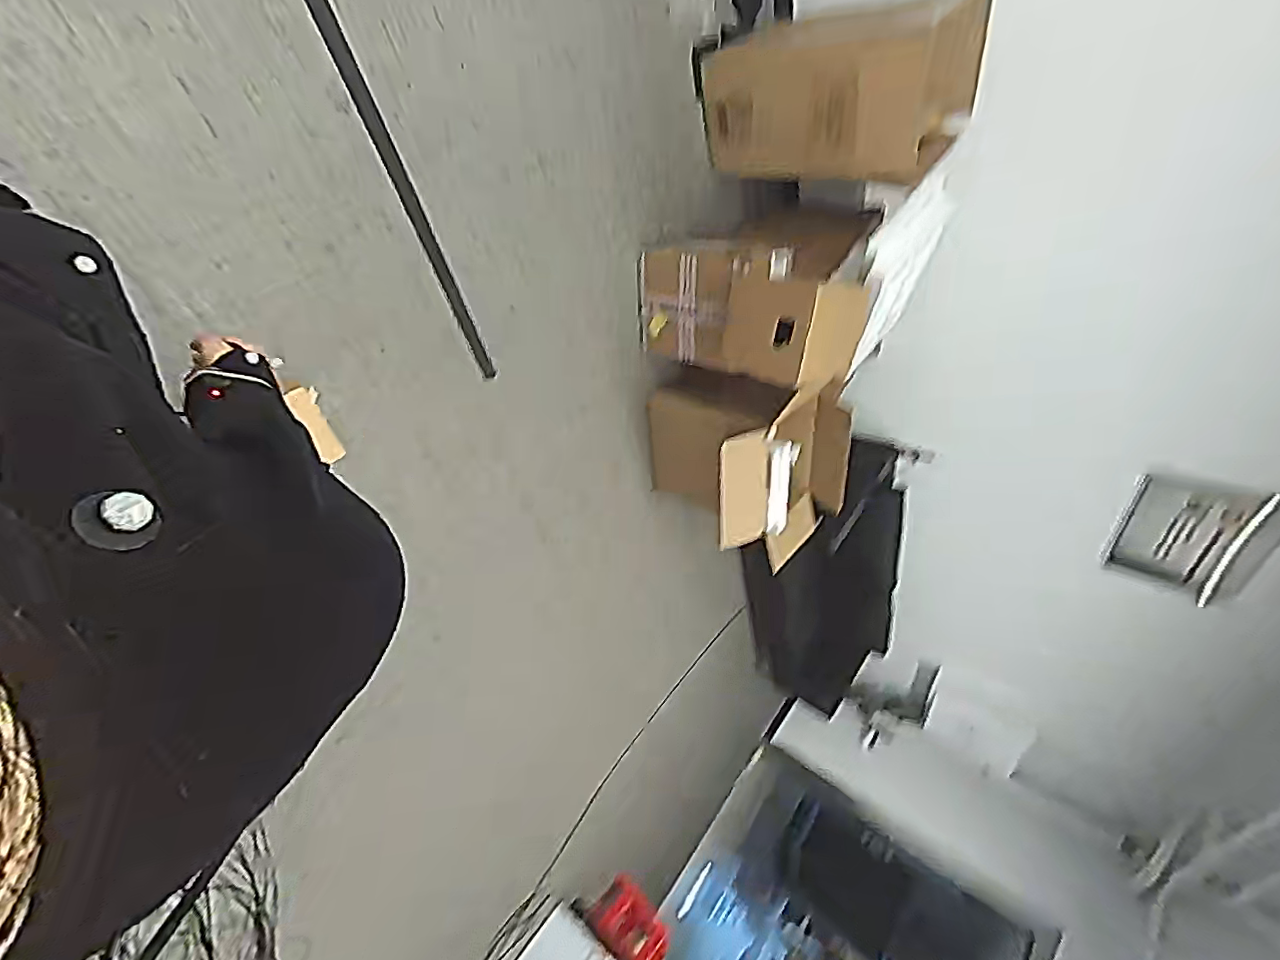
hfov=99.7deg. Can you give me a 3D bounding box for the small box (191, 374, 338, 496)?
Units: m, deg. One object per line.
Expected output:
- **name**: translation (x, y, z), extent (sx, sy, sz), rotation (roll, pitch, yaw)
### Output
- **small box**: translation (-0.781, -0.100, 1.130), extent (0.168, 0.176, 0.179), rotation (-42, 136, -32)
